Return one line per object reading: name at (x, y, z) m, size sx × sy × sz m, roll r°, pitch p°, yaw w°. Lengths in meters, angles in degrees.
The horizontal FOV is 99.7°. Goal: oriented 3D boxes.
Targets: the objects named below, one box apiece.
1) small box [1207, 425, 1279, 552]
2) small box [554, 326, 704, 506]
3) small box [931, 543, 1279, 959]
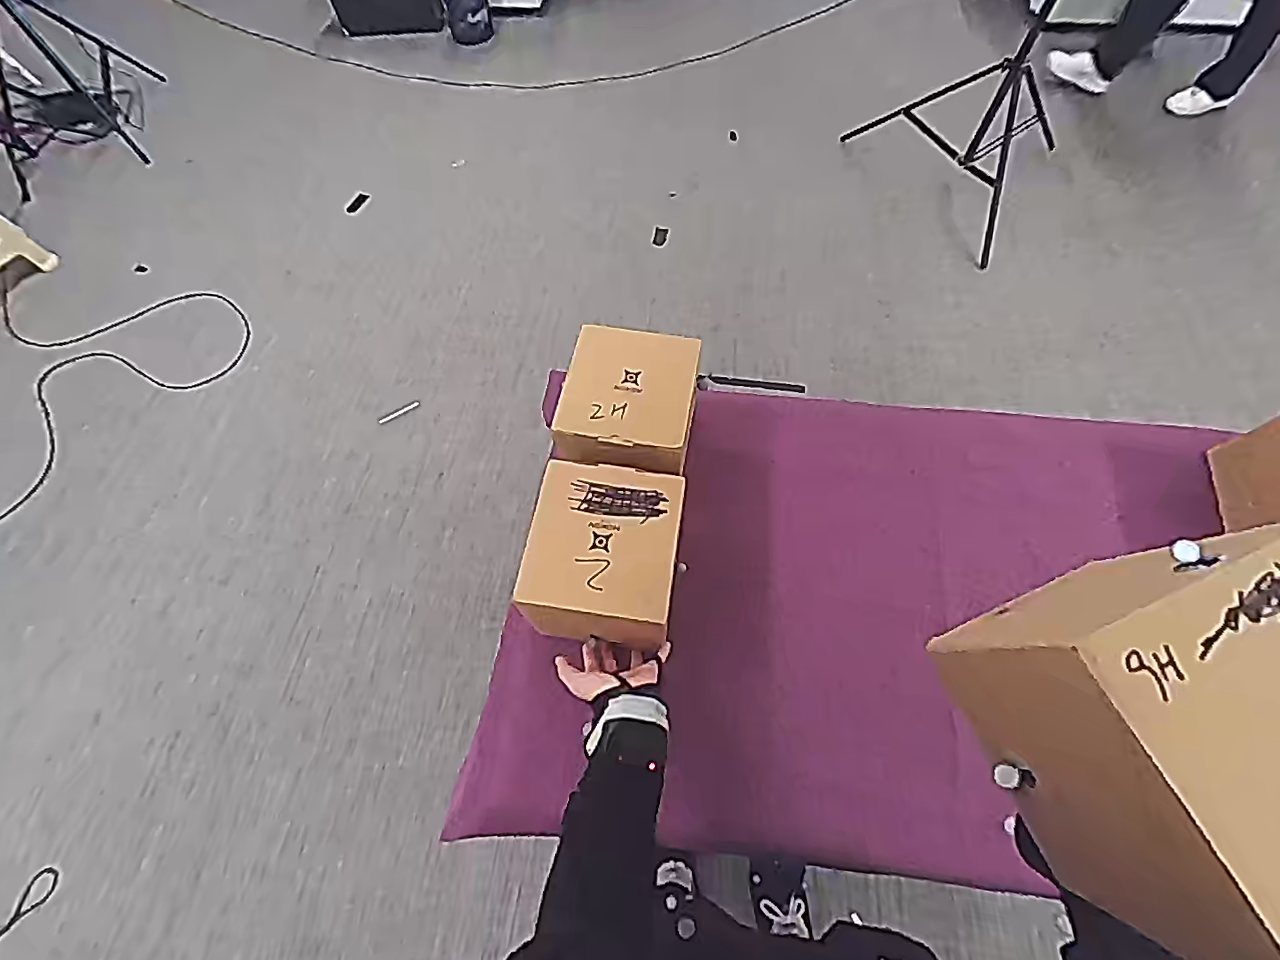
small box at (0.897, 0.022, 0.694) m, size 0.168 × 0.176 × 0.179 m, roll 10°, pitch 67°, yaw 6°
small box at (-0.010, -0.085, 0.763) m, size 0.168 × 0.176 × 0.179 m, roll 10°, pitch 64°, yaw 6°
small box at (0.325, 0.152, 0.329) m, size 0.168 × 0.176 × 0.179 m, roll -23°, pitch 73°, yaw -5°
